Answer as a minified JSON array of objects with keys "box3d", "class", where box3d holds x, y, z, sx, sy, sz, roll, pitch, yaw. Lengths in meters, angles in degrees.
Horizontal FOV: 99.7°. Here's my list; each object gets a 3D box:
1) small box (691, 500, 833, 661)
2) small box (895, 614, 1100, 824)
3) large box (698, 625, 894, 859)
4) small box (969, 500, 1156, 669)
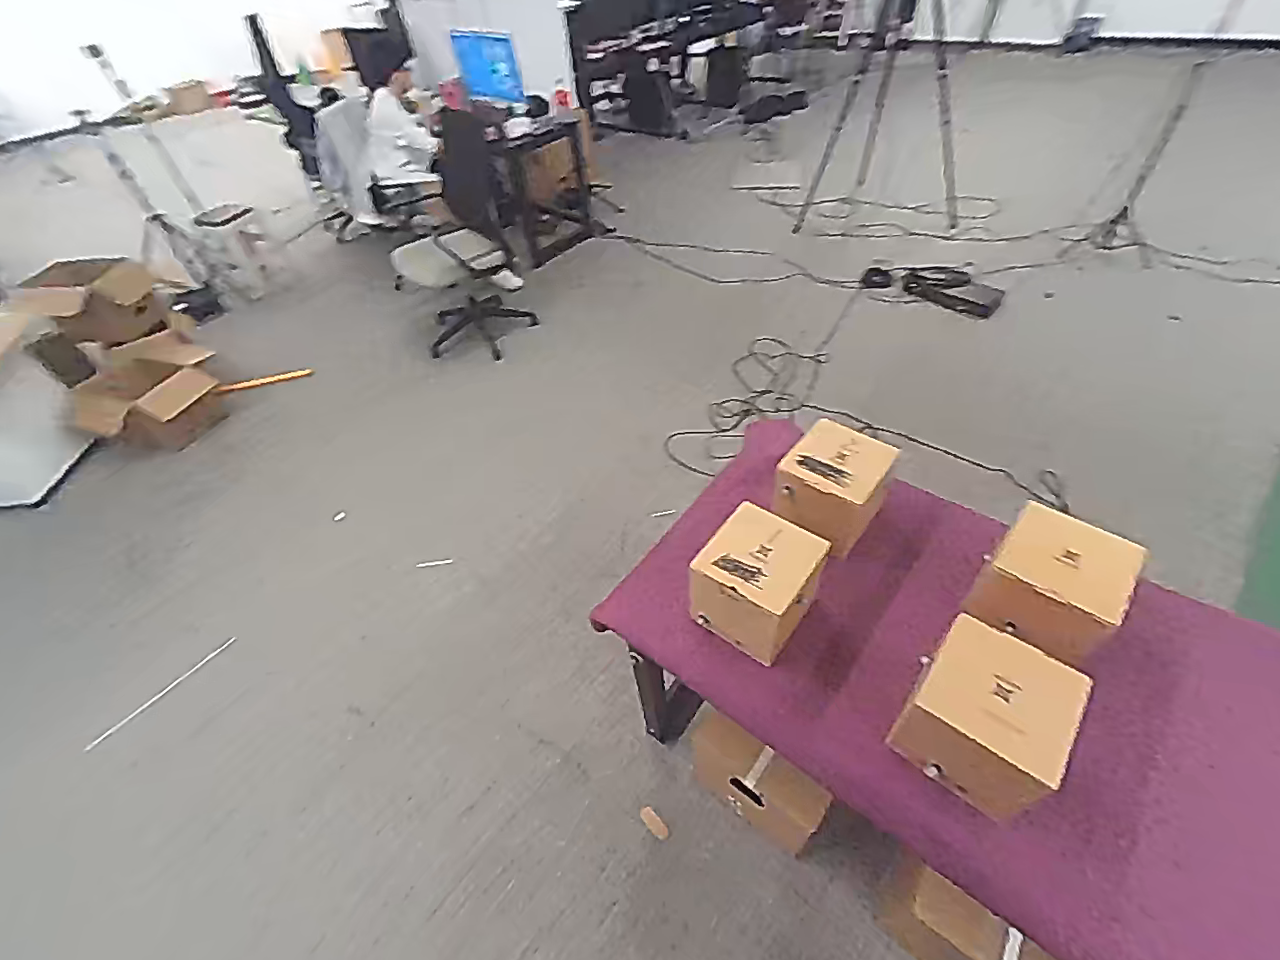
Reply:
[{"box3d":[0.205,0.174,0.928,0.168,0.176,0.179,28,54,29],"class":"small box"},{"box3d":[0.481,0.329,0.749,0.168,0.176,0.179,30,56,31],"class":"small box"},{"box3d":[0.383,0.645,1.378,0.320,0.320,0.408,29,56,29],"class":"large box"},{"box3d":[0.670,0.173,0.875,0.168,0.176,0.179,31,59,30],"class":"small box"}]
